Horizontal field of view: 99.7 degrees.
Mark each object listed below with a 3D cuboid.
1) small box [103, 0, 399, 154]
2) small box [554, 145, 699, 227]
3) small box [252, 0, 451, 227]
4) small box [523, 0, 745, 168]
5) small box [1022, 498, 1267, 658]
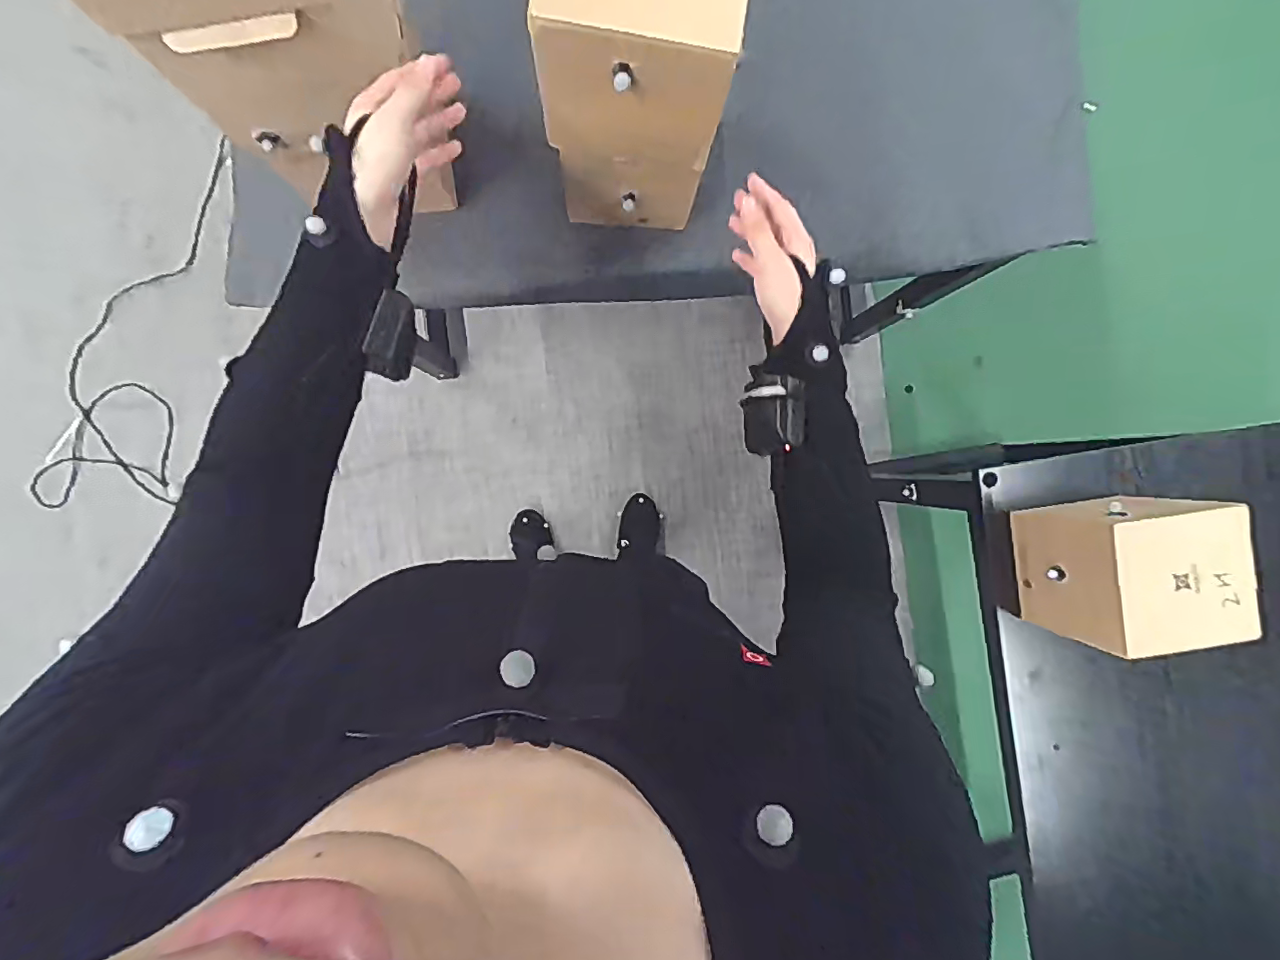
[{"bbox_3d":[-0.346,-0.434,0.500,0.168,0.176,0.179,-12,89,-3],"label":"small box"},{"bbox_3d":[-0.012,-0.440,0.679,0.168,0.176,0.179,2,90,-2],"label":"small box"},{"bbox_3d":[-0.345,-0.437,0.664,0.179,0.176,0.168,-8,89,-2],"label":"small box"},{"bbox_3d":[0.000,-0.431,0.516,0.179,0.176,0.168,7,89,-1],"label":"small box"},{"bbox_3d":[0.645,0.118,0.716,0.179,0.176,0.168,-8,92,-3],"label":"small box"}]
